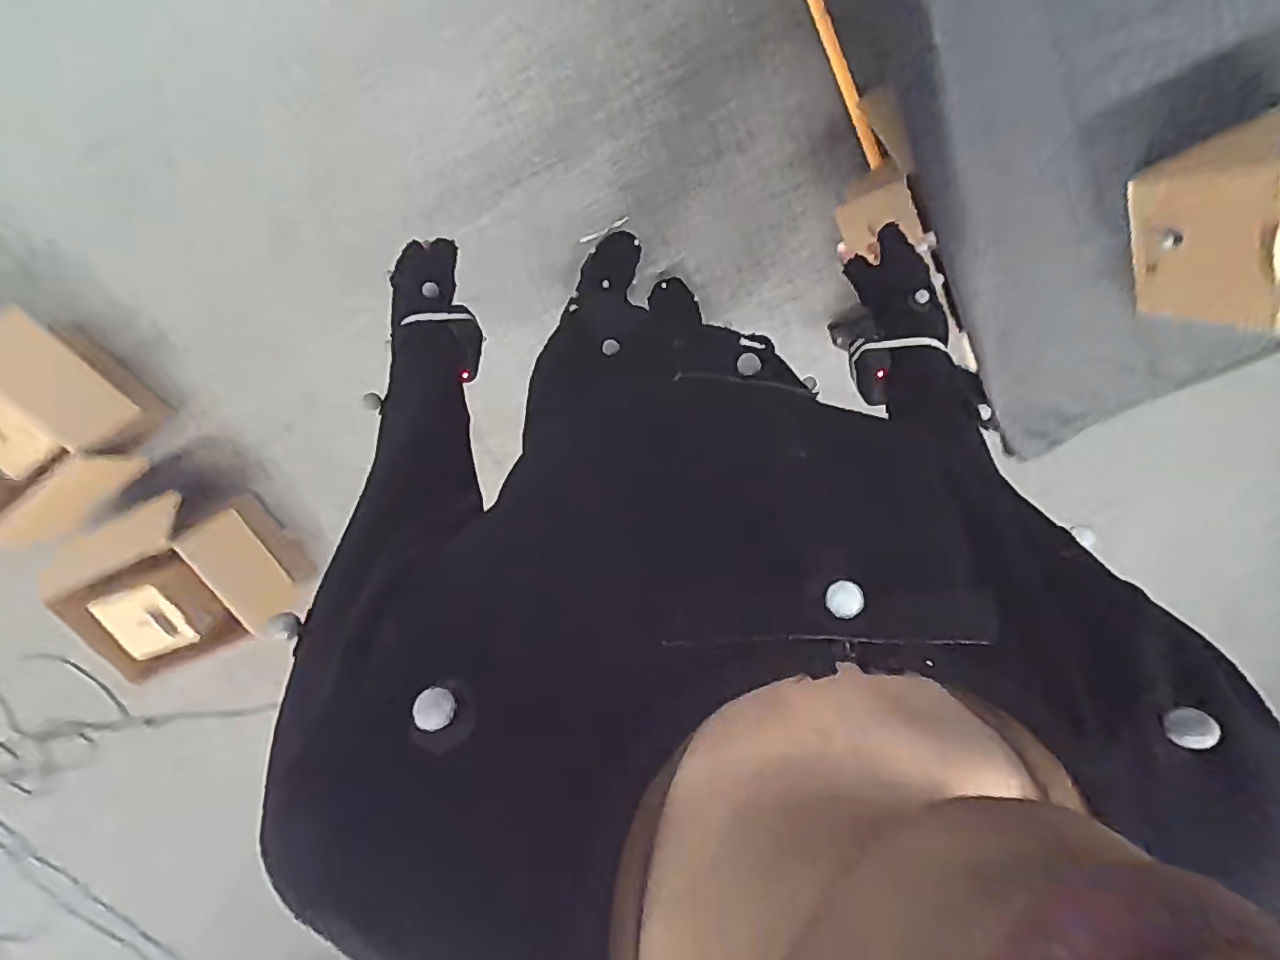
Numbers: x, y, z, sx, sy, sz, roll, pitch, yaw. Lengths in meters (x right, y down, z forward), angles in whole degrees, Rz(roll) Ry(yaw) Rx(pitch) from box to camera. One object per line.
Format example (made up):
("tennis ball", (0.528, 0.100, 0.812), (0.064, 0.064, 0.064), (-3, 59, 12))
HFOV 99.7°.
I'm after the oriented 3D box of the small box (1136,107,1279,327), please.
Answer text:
("small box", (0.680, -0.285, 0.563), (0.179, 0.176, 0.168), (-24, 113, 10))
